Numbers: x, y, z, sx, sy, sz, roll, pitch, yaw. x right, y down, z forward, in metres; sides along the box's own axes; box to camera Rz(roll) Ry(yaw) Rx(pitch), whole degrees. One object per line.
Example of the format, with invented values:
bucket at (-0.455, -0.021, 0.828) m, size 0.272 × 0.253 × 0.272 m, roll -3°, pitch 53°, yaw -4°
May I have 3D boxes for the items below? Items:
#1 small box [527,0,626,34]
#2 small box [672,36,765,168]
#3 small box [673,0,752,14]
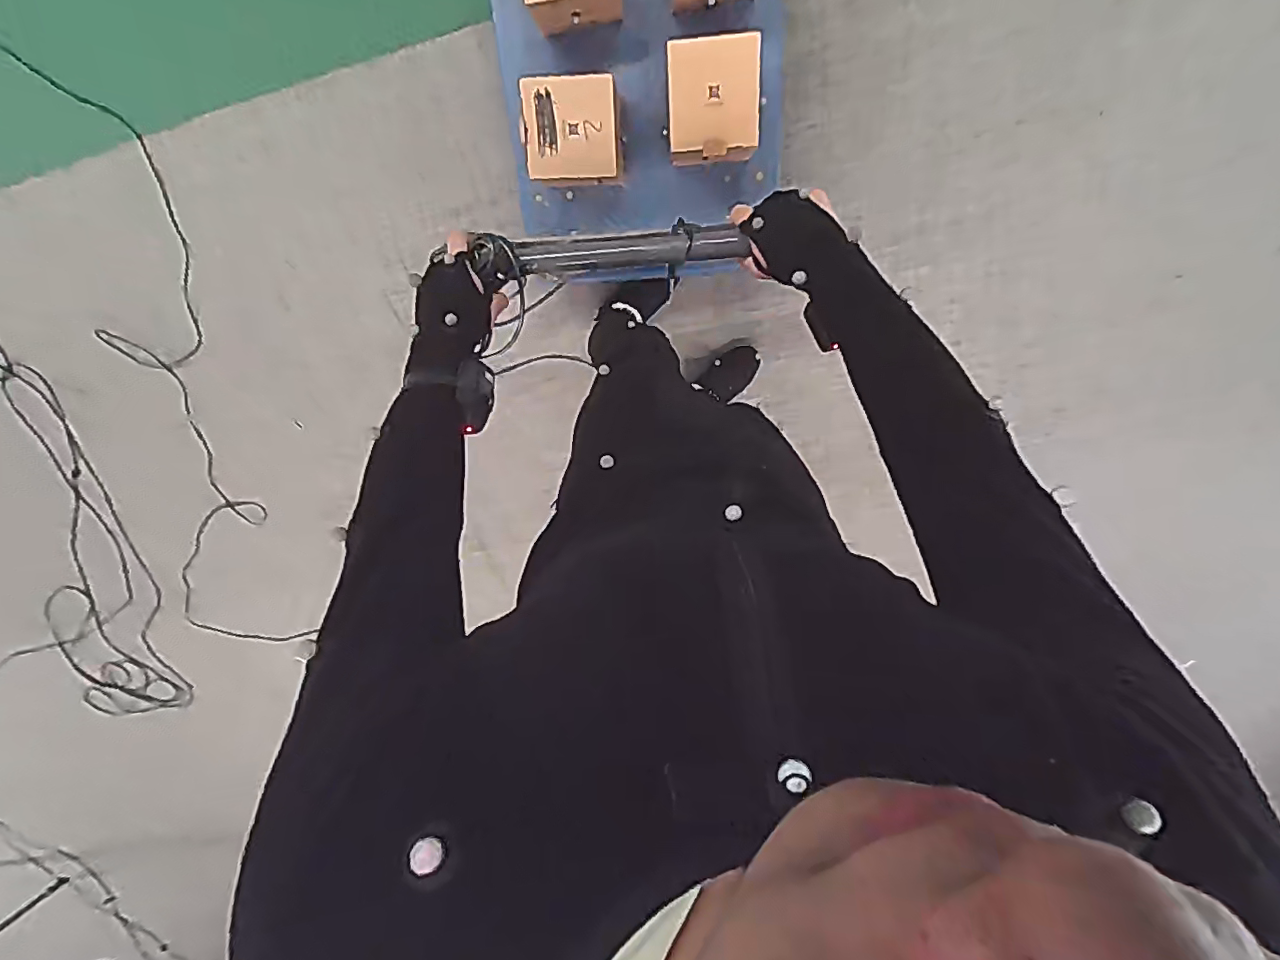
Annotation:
small box at (-0.123, -0.942, 0.976) m, size 0.168 × 0.176 × 0.179 m, roll -7°, pitch 114°, yaw 6°
small box at (0.147, -0.725, 1.055) m, size 0.168 × 0.176 × 0.179 m, roll -2°, pitch 114°, yaw 6°
small box at (0.131, -0.966, 0.947) m, size 0.168 × 0.176 × 0.179 m, roll -5°, pitch 115°, yaw 7°
